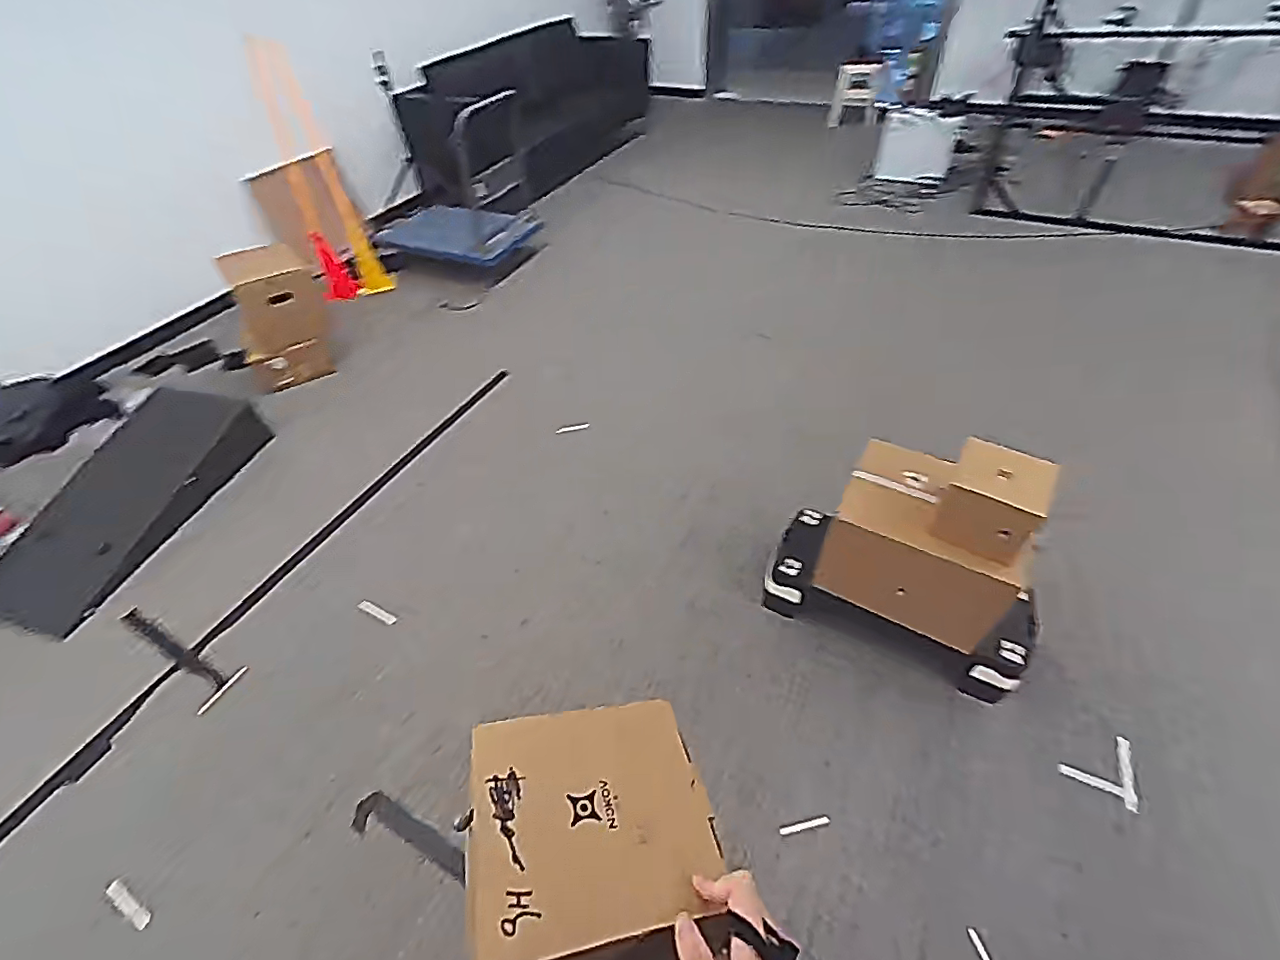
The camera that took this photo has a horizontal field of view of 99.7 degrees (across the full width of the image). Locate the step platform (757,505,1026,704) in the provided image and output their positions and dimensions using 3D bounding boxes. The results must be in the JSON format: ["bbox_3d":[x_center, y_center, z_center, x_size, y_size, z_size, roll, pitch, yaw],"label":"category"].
[{"bbox_3d":[0.694,0.328,1.554,0.684,0.204,0.286,23,53,25],"label":"step platform"}]

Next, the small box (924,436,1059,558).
[{"bbox_3d":[0.743,0.040,1.155,0.179,0.176,0.168,25,54,26],"label":"small box"}]

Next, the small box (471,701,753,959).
[{"bbox_3d":[-0.040,0.307,0.438,0.179,0.176,0.168,3,30,-19],"label":"small box"}]

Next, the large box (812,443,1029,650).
[{"bbox_3d":[0.704,0.164,1.380,0.408,0.320,0.320,21,51,24],"label":"large box"}]
